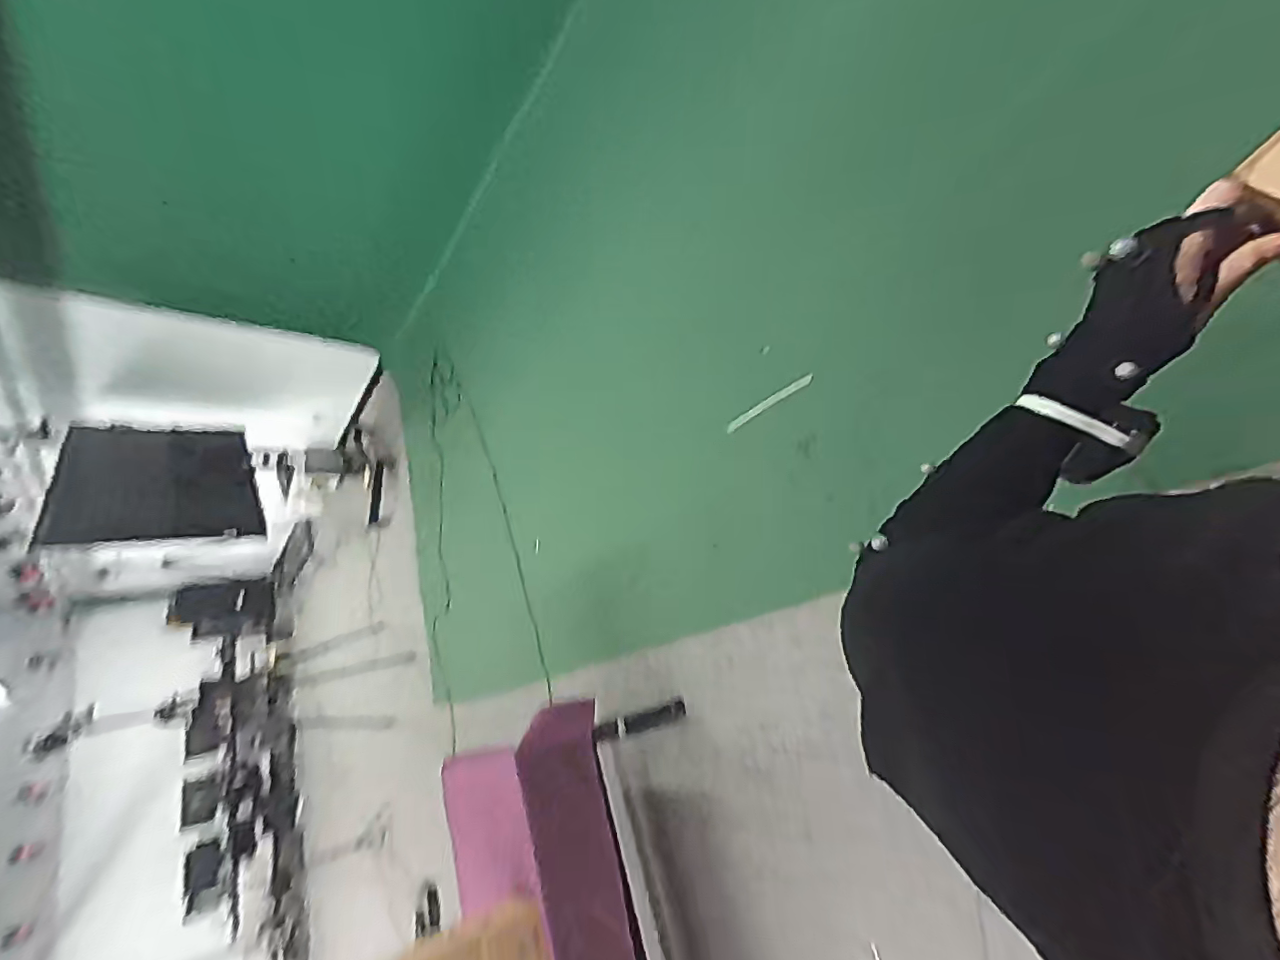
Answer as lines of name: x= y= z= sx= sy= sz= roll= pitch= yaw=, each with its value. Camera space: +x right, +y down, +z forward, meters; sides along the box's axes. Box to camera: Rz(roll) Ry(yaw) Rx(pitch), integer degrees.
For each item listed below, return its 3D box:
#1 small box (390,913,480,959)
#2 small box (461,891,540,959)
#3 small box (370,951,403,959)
small box: x=-0.510 y=1.246 z=1.363 sx=0.168 sy=0.176 sz=0.179 roll=-32 pitch=65 yaw=42
small box: x=-0.384 y=1.256 z=1.469 sx=0.179 sy=0.176 sz=0.168 roll=-32 pitch=65 yaw=43
small box: x=-0.637 y=1.247 z=1.257 sx=0.179 sy=0.176 sz=0.168 roll=-31 pitch=66 yaw=42
